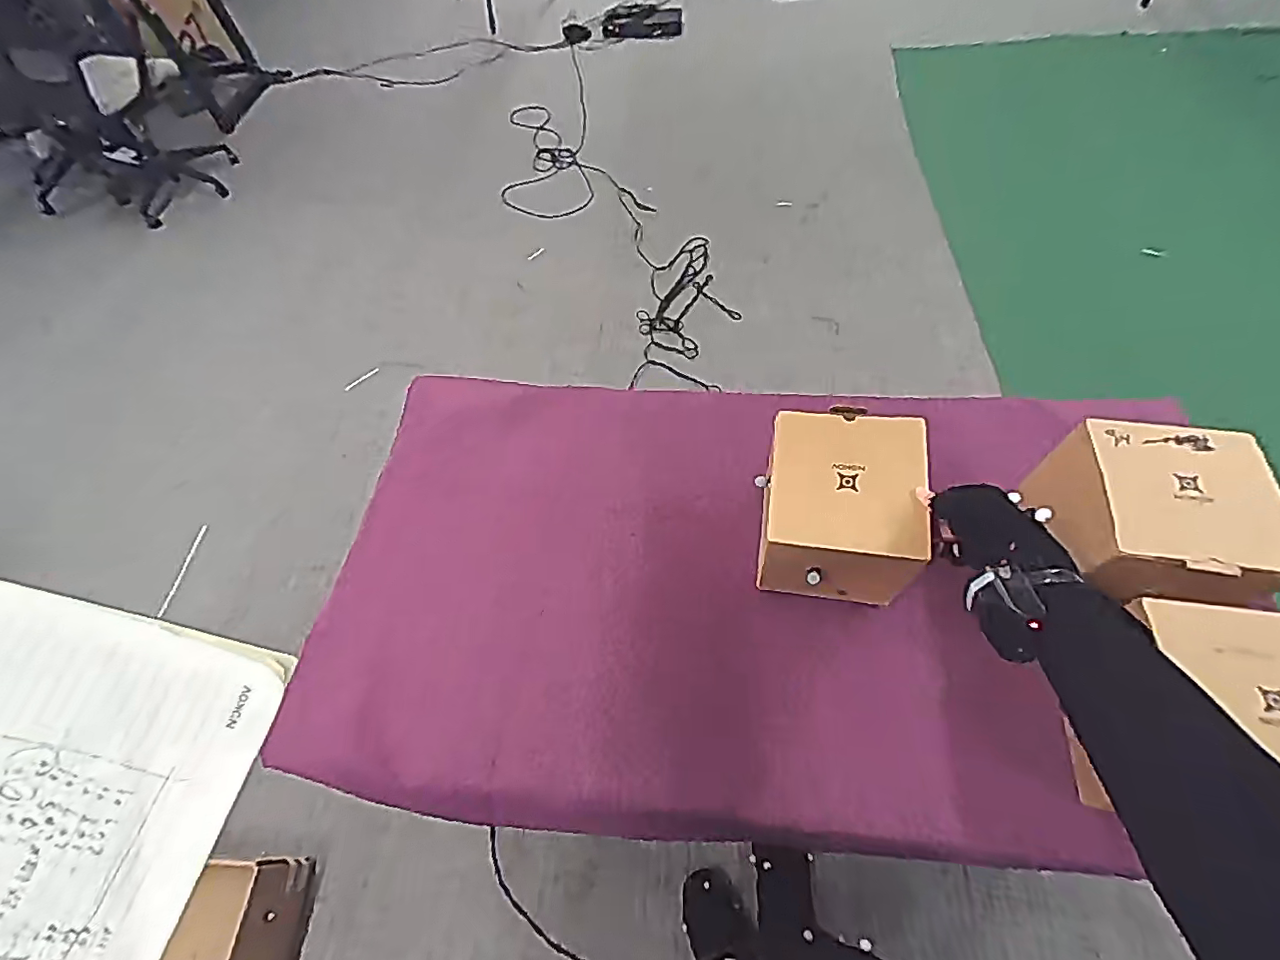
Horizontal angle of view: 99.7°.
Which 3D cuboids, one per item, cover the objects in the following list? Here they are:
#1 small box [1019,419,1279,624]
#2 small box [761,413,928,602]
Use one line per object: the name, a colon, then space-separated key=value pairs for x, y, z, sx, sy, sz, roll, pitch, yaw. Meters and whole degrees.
small box: x=0.582 y=0.055 z=0.635 sx=0.168 sy=0.176 sz=0.179 roll=8 pitch=61 yaw=11
small box: x=0.243 y=0.040 z=0.674 sx=0.168 sy=0.176 sz=0.179 roll=5 pitch=60 yaw=12
